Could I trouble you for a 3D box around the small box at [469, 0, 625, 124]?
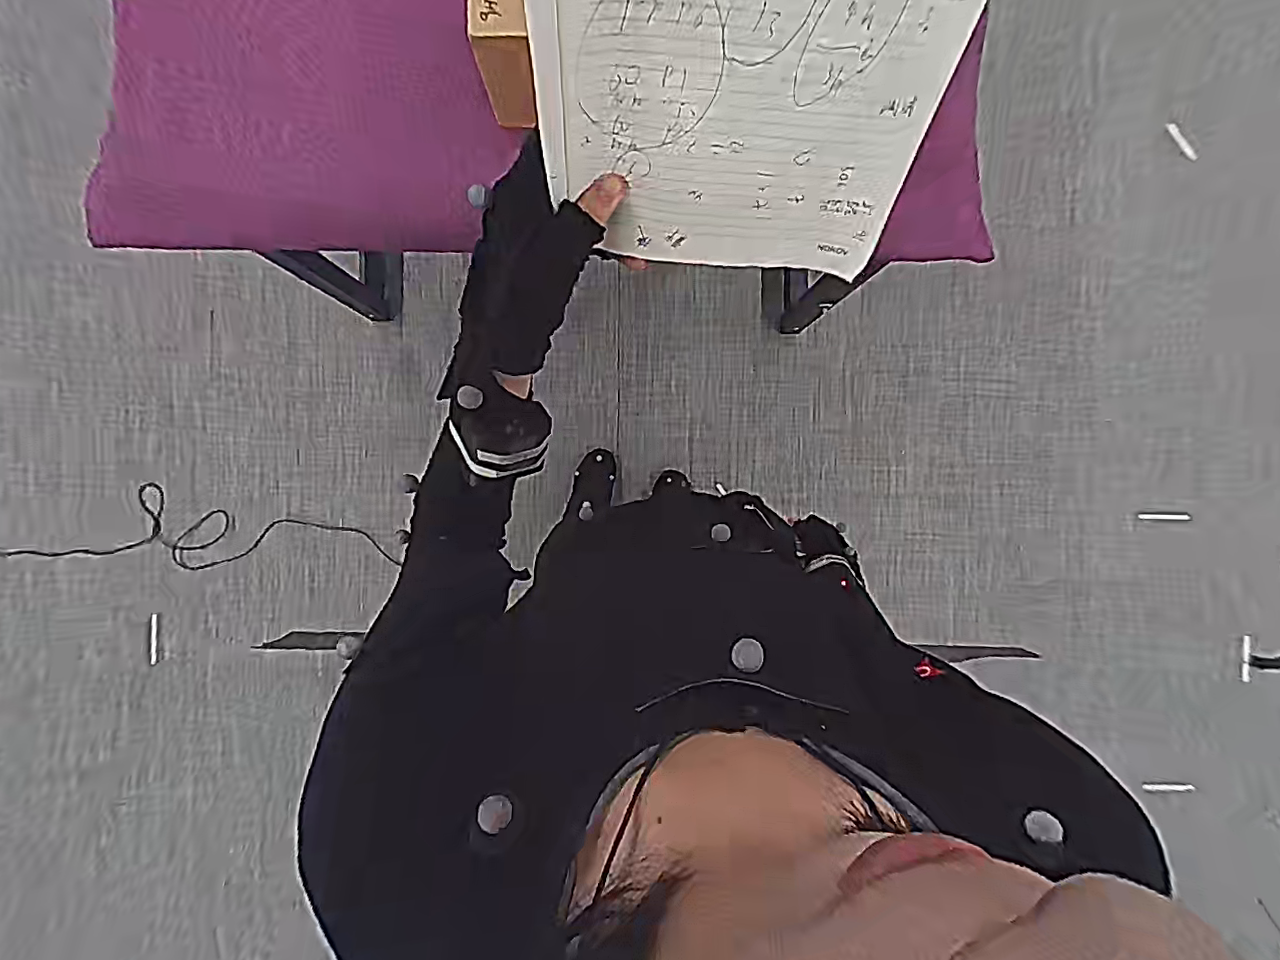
[{"bbox_3d":[-0.109,-0.587,0.688,0.179,0.176,0.168,0,90,-3],"label":"small box"}]
